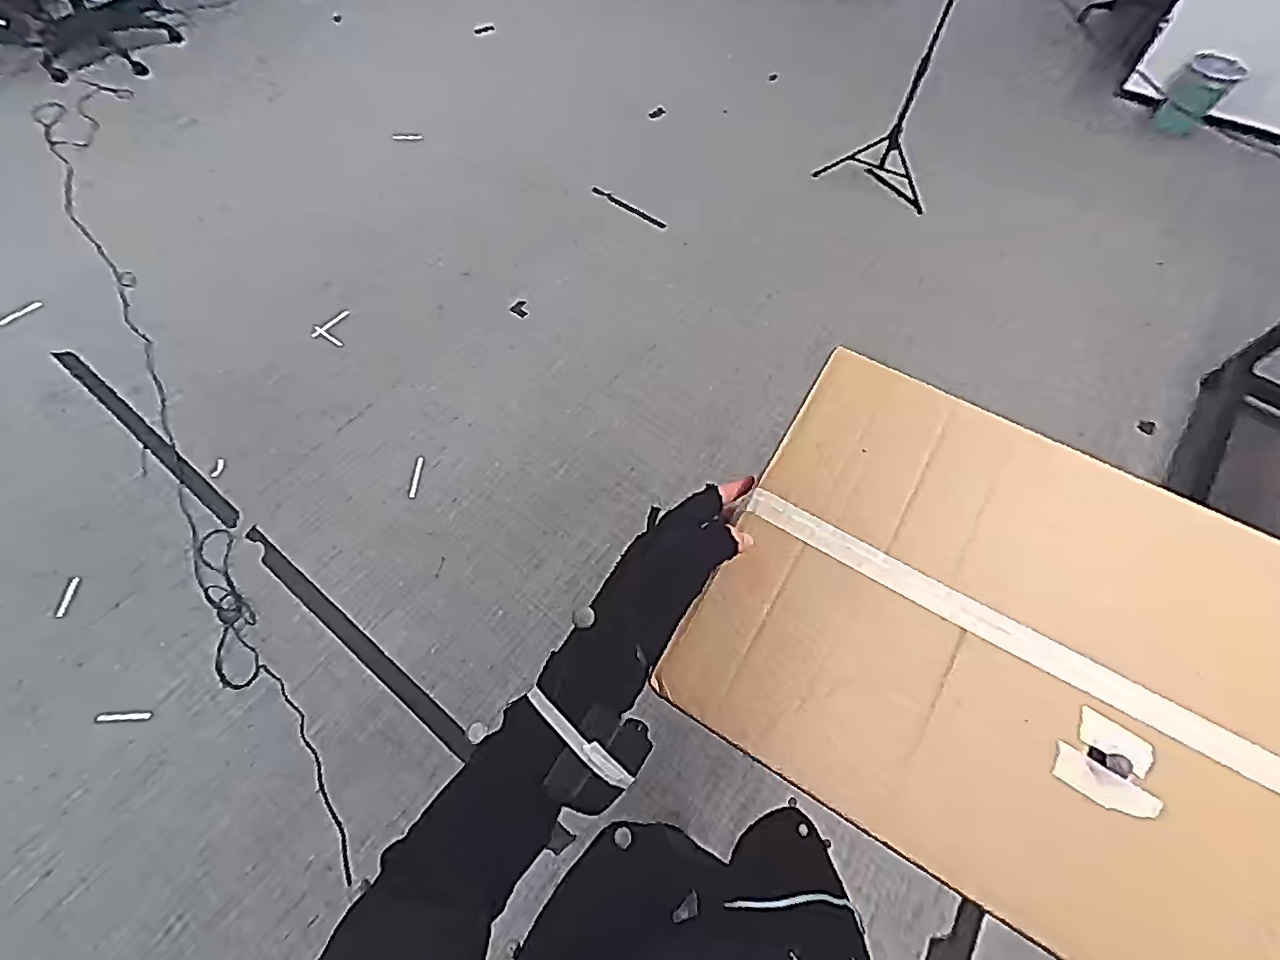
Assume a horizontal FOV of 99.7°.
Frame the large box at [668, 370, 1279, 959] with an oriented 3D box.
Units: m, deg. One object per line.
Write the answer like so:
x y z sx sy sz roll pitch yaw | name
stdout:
0.271 0.167 0.520 0.408 0.320 0.320 29 75 14 | large box
